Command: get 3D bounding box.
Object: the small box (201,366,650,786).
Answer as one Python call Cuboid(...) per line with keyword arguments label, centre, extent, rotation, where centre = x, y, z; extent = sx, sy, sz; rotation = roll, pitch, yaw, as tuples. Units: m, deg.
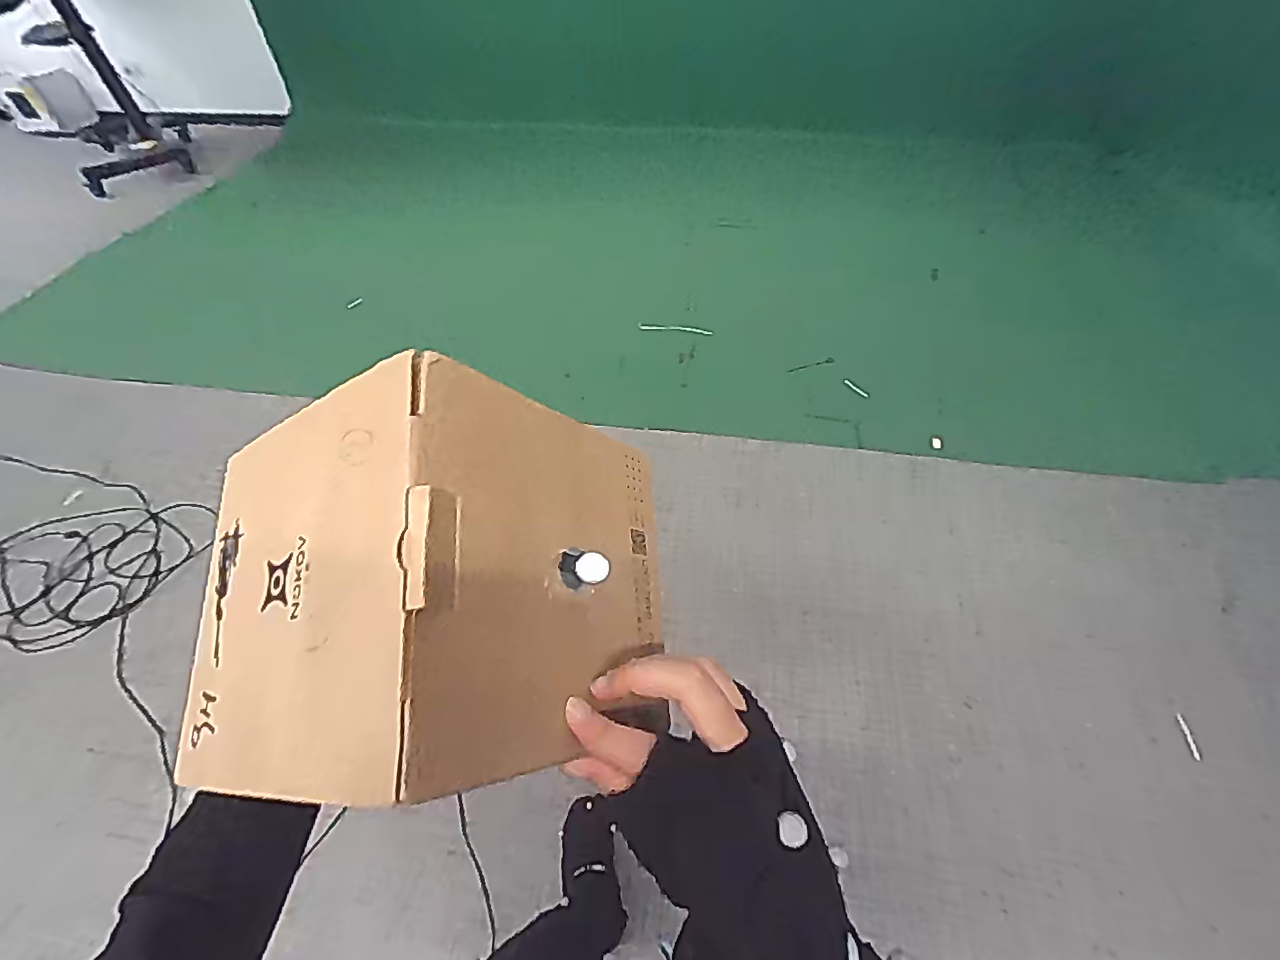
Cuboid(label="small box", centre=(-0.105, 0.062, 0.313), extent=(0.179, 0.176, 0.168), rotation=(-15, 69, 30))
